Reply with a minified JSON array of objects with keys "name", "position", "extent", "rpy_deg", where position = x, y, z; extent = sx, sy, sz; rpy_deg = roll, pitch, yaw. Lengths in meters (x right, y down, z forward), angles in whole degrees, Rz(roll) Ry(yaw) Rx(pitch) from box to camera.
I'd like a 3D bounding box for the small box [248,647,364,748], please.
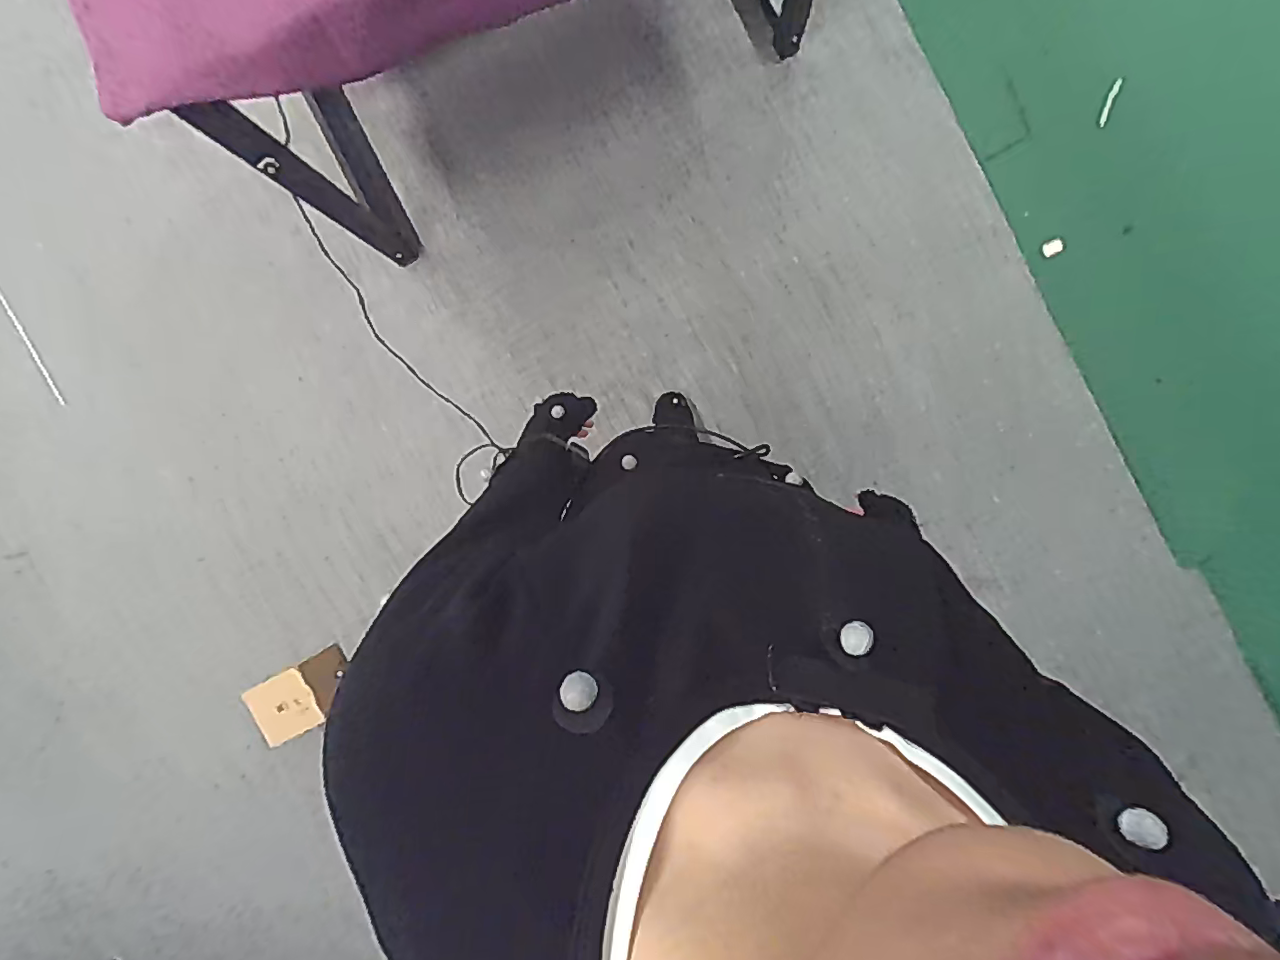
[{"name":"small box","position":[-0.906,0.588,1.481],"extent":[0.179,0.176,0.168],"rpy_deg":[-27,92,4]}]
